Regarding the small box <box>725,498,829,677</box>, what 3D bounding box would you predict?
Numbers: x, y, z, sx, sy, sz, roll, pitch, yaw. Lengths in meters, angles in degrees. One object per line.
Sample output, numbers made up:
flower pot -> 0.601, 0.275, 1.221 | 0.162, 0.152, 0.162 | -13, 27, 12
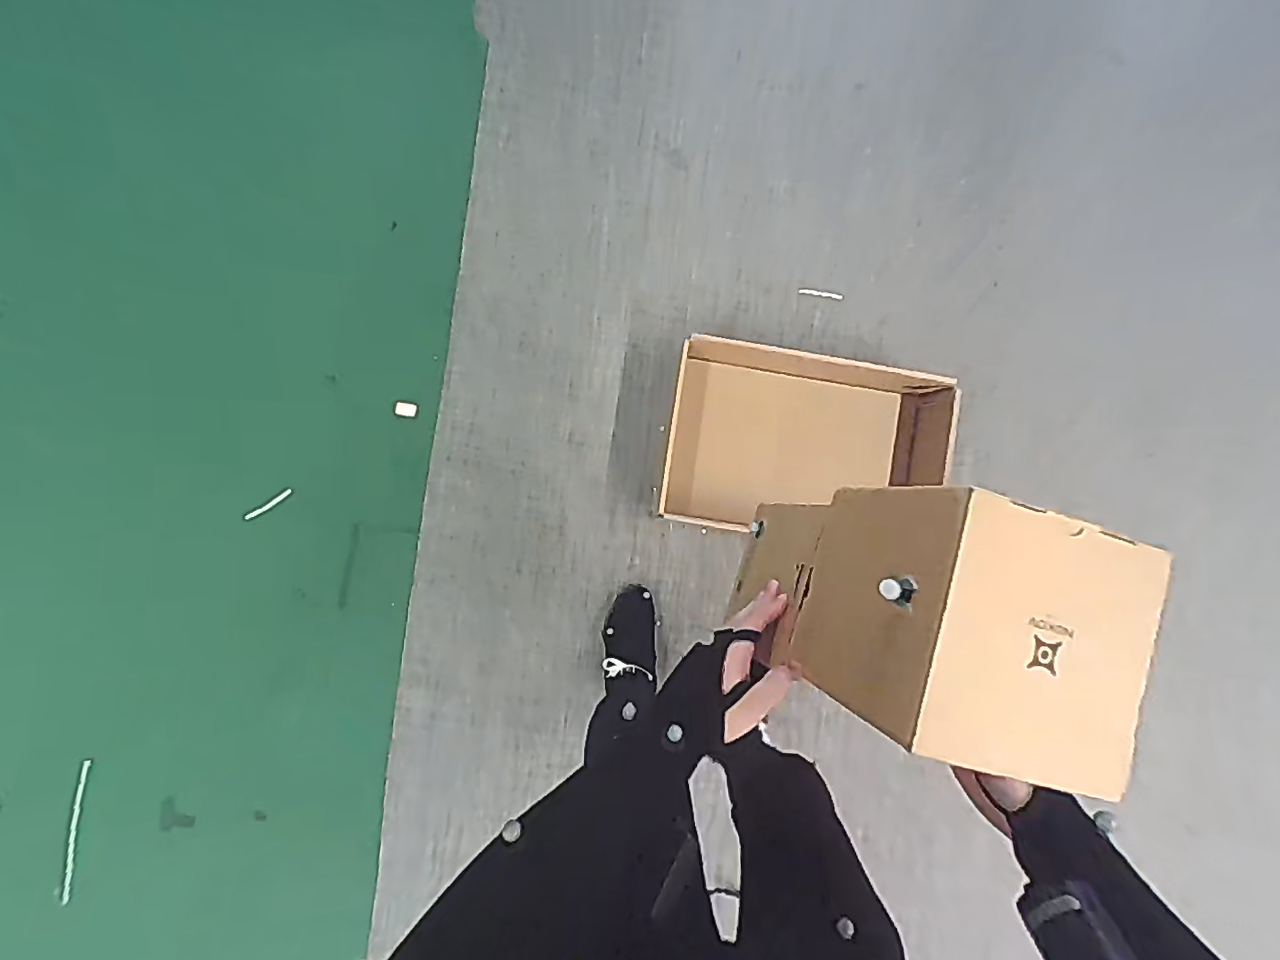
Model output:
small box -> 0.214, 0.124, 0.595 | 0.179, 0.176, 0.168 | 18, 86, -10

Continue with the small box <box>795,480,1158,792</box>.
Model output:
small box -> 0.247, 0.108, 0.437 | 0.168, 0.176, 0.179 | 17, 85, -9
